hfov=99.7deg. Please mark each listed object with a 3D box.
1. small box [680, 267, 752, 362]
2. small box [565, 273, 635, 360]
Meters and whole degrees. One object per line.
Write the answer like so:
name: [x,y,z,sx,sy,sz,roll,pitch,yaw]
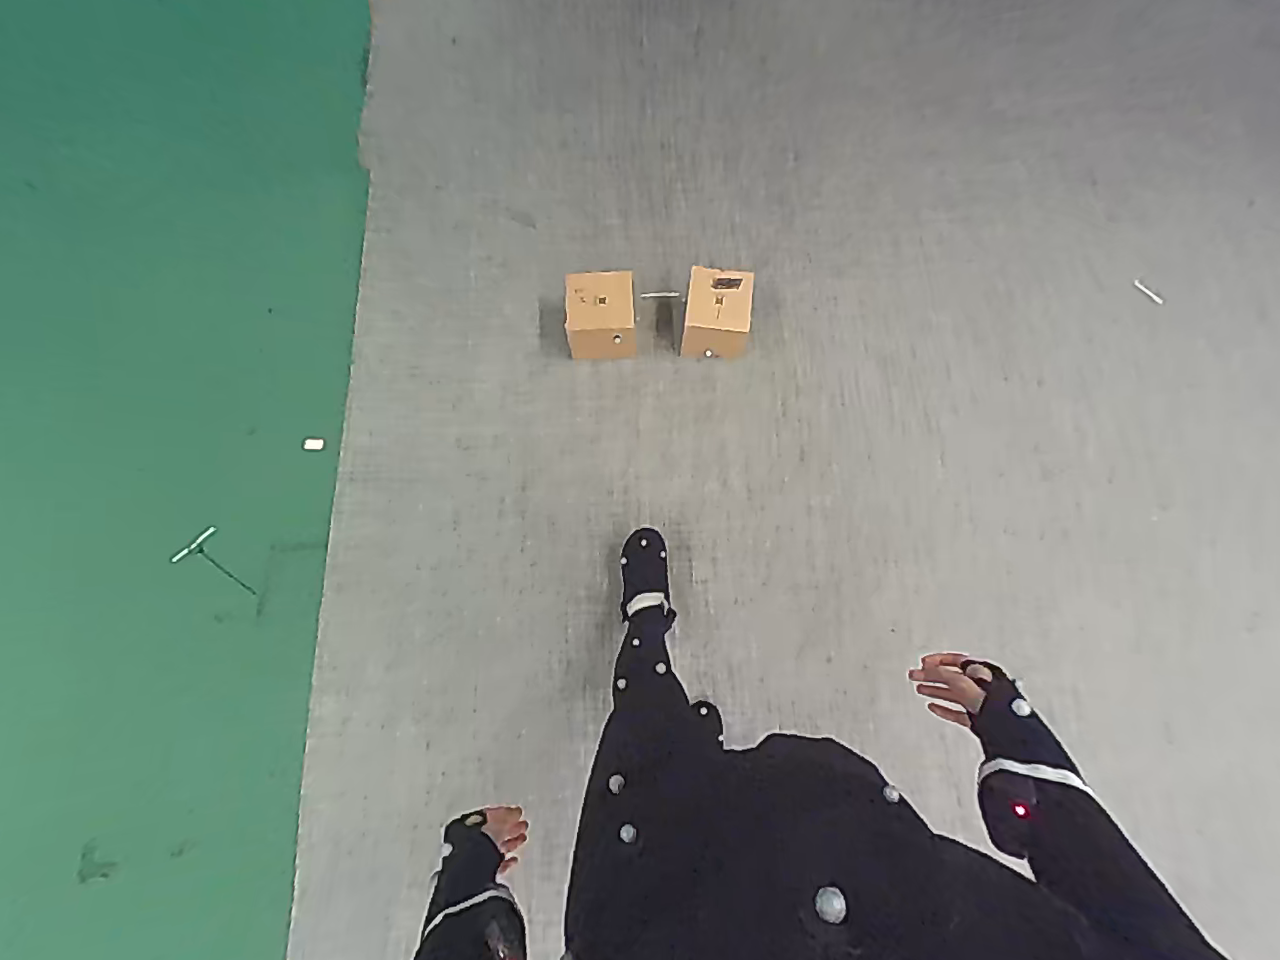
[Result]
small box: [0.201,-0.444,1.463,0.168,0.176,0.179,6,76,2]
small box: [-0.105,-0.437,1.461,0.179,0.176,0.168,-3,75,0]
